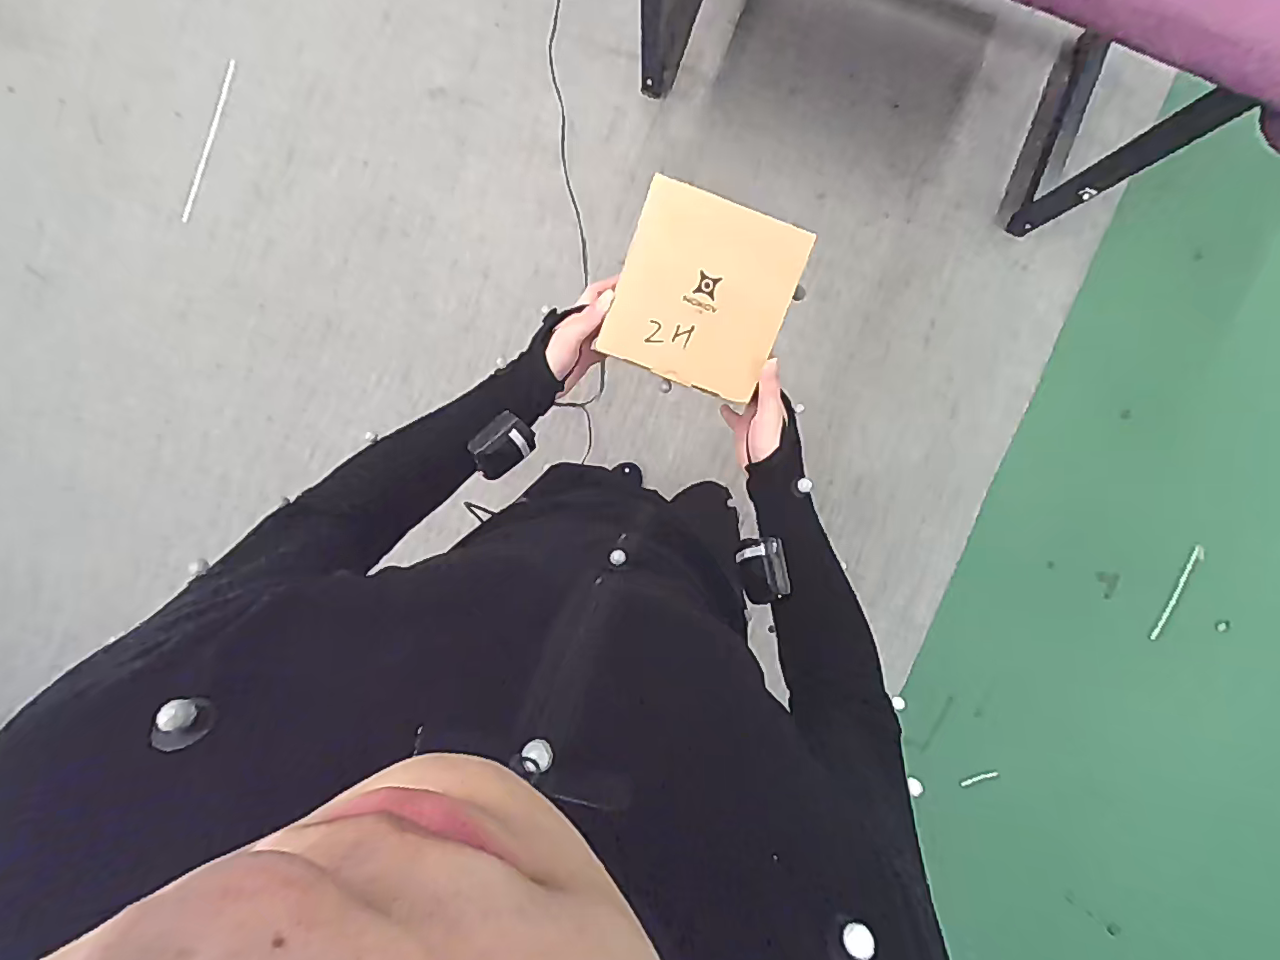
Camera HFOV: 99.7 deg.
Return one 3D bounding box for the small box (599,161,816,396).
[{"bbox_3d":[0.065,-0.208,0.602,0.168,0.176,0.179,21,102,-2],"label":"small box"}]
